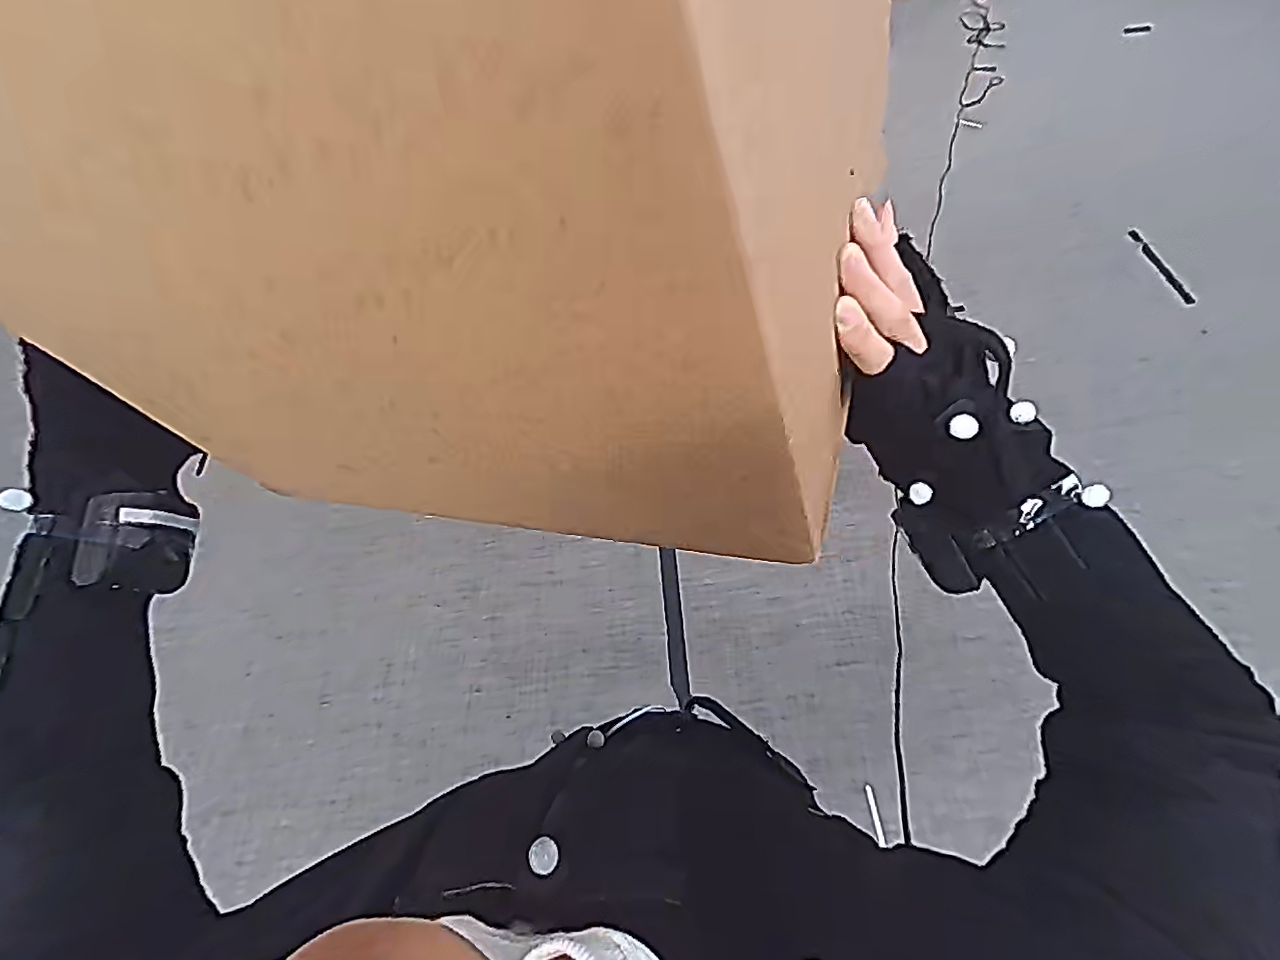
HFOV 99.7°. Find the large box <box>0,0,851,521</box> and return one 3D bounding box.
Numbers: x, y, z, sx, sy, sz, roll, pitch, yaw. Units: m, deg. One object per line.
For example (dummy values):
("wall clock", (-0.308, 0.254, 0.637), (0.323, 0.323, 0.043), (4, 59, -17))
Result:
("large box", (-0.116, -0.194, 0.310), (0.408, 0.320, 0.320), (4, 60, 27))
